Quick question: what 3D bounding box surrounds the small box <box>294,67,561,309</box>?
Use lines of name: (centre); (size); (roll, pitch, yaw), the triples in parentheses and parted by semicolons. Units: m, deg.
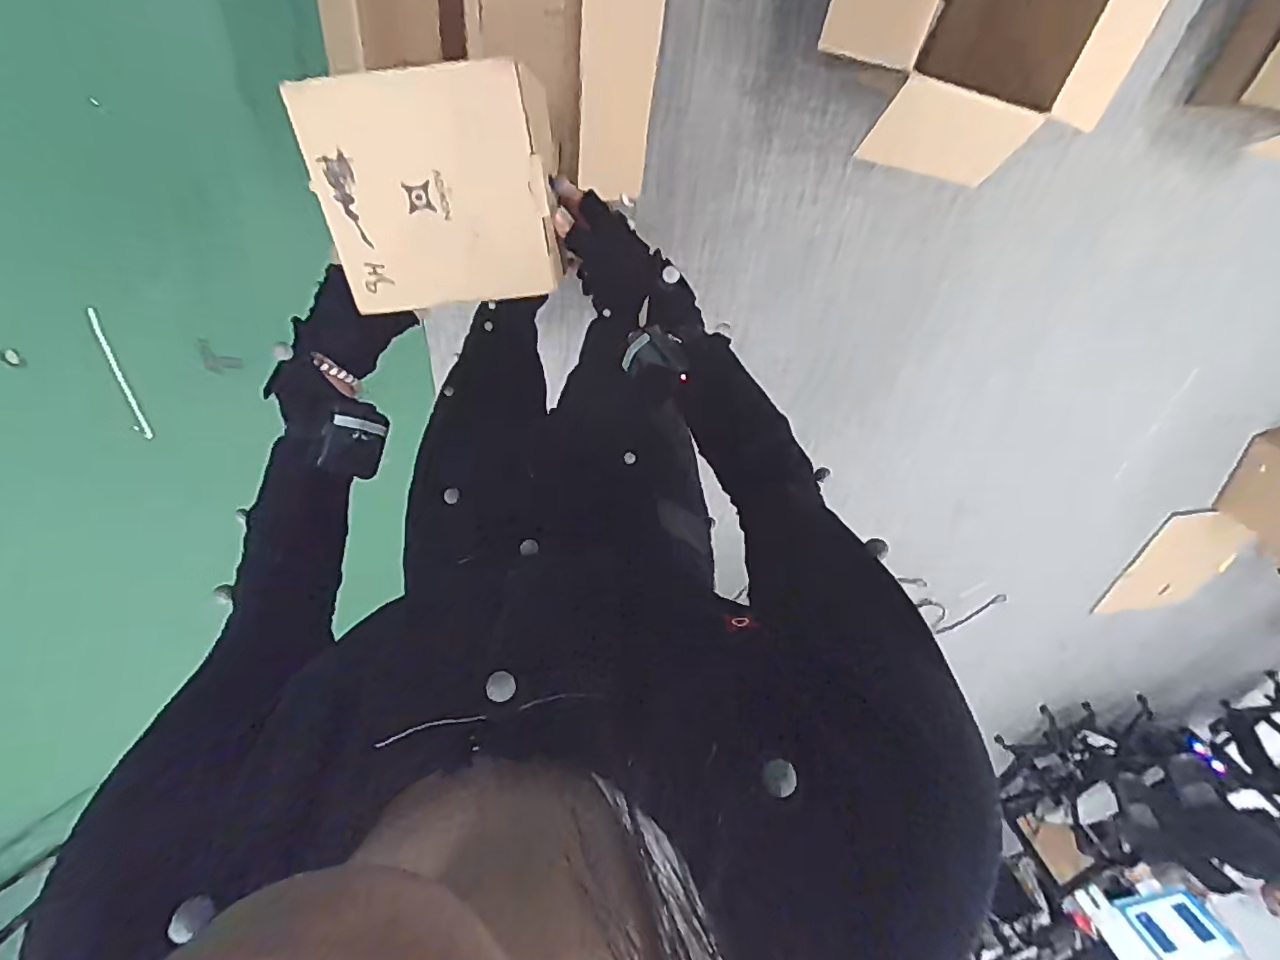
small box: (-0.170, -0.268, 0.506); (0.179, 0.176, 0.168); (-6, 119, -2)
